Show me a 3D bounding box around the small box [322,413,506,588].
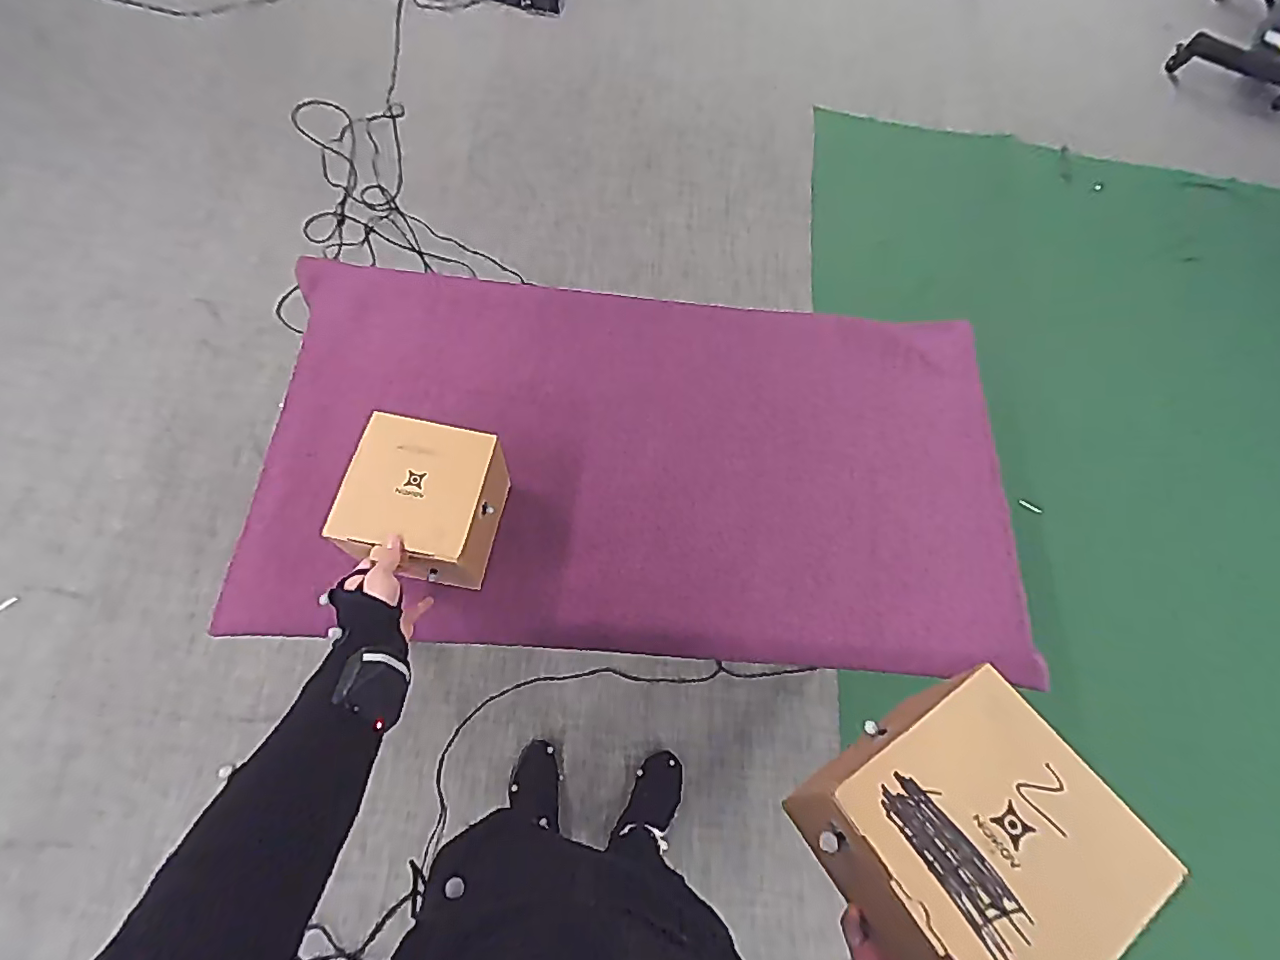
[{"bbox_3d":[-0.292,0.037,0.749,0.168,0.176,0.179,13,64,-2],"label":"small box"}]
